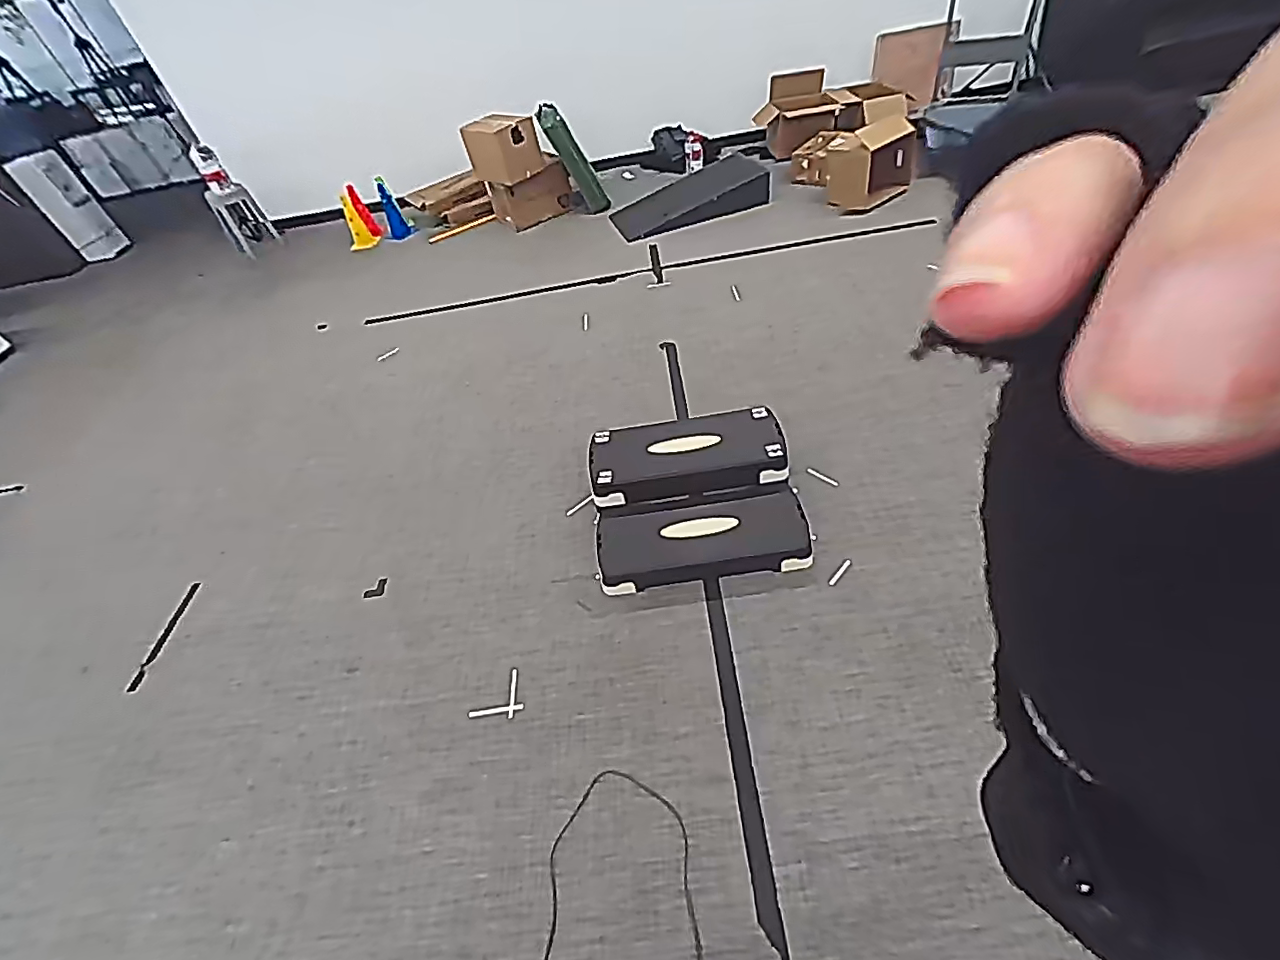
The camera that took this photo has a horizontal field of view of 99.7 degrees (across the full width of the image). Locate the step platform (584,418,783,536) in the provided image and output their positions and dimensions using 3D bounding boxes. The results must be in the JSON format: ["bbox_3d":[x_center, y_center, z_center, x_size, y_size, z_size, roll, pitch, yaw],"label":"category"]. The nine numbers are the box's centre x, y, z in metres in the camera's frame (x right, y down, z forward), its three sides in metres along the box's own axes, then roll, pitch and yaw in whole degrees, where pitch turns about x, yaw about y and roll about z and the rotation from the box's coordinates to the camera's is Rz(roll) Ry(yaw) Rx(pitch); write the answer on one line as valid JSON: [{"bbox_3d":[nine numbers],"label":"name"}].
[{"bbox_3d":[0.145,-0.017,1.893,0.684,0.204,0.286,-9,46,2],"label":"step platform"}]
